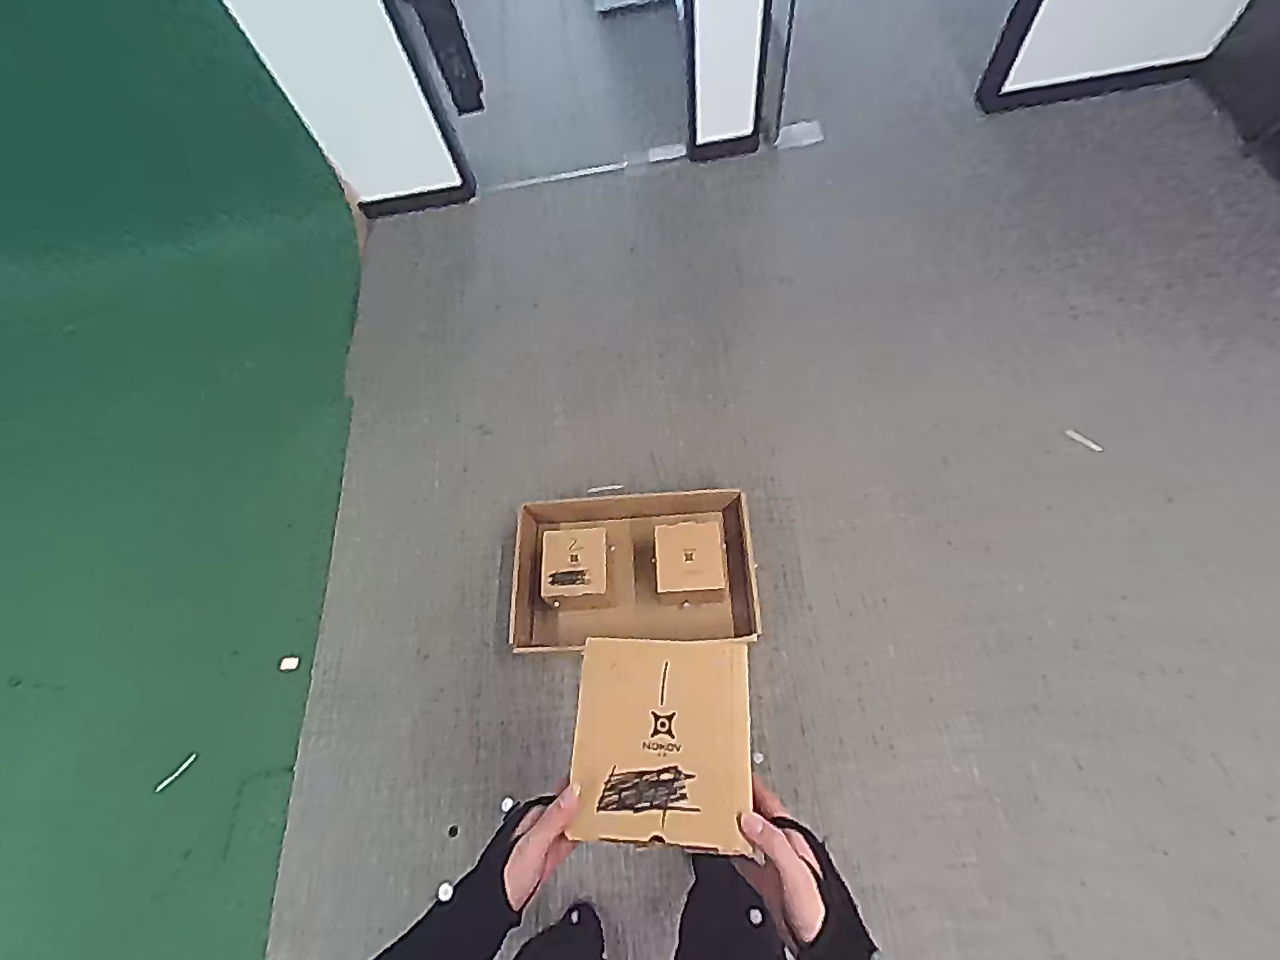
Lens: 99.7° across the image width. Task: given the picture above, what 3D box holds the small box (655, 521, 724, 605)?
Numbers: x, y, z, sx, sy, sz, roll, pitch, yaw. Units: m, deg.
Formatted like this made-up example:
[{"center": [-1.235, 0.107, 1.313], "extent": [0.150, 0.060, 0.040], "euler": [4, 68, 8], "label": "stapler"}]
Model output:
[{"center": [0.128, 0.219, 1.408], "extent": [0.168, 0.176, 0.179], "euler": [-4, 65, 6], "label": "small box"}]

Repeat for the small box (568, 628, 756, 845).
[{"center": [0.031, 0.268, 0.569], "extent": [0.168, 0.176, 0.179], "euler": [1, 59, 6], "label": "small box"}]
